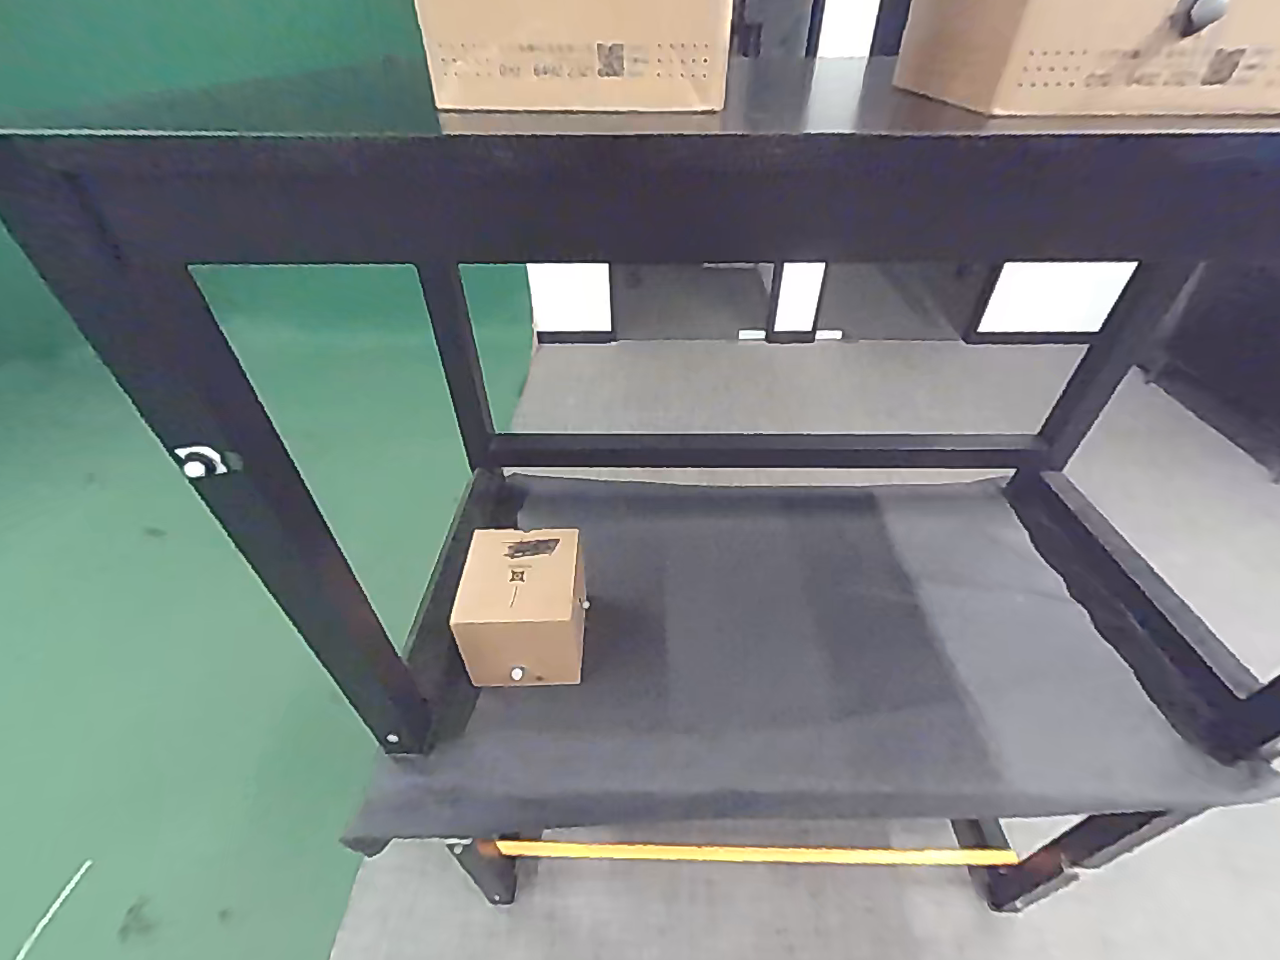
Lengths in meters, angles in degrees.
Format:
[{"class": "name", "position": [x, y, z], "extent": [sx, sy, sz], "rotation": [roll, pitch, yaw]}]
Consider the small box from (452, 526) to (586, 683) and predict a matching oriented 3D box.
[{"class": "small box", "position": [-0.174, 0.191, 0.838], "extent": [0.168, 0.176, 0.179], "rotation": [-1, 40, -1]}]

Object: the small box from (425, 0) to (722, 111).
[{"class": "small box", "position": [-0.031, -0.331, 0.326], "extent": [0.168, 0.176, 0.179], "rotation": [3, 40, 4]}]
